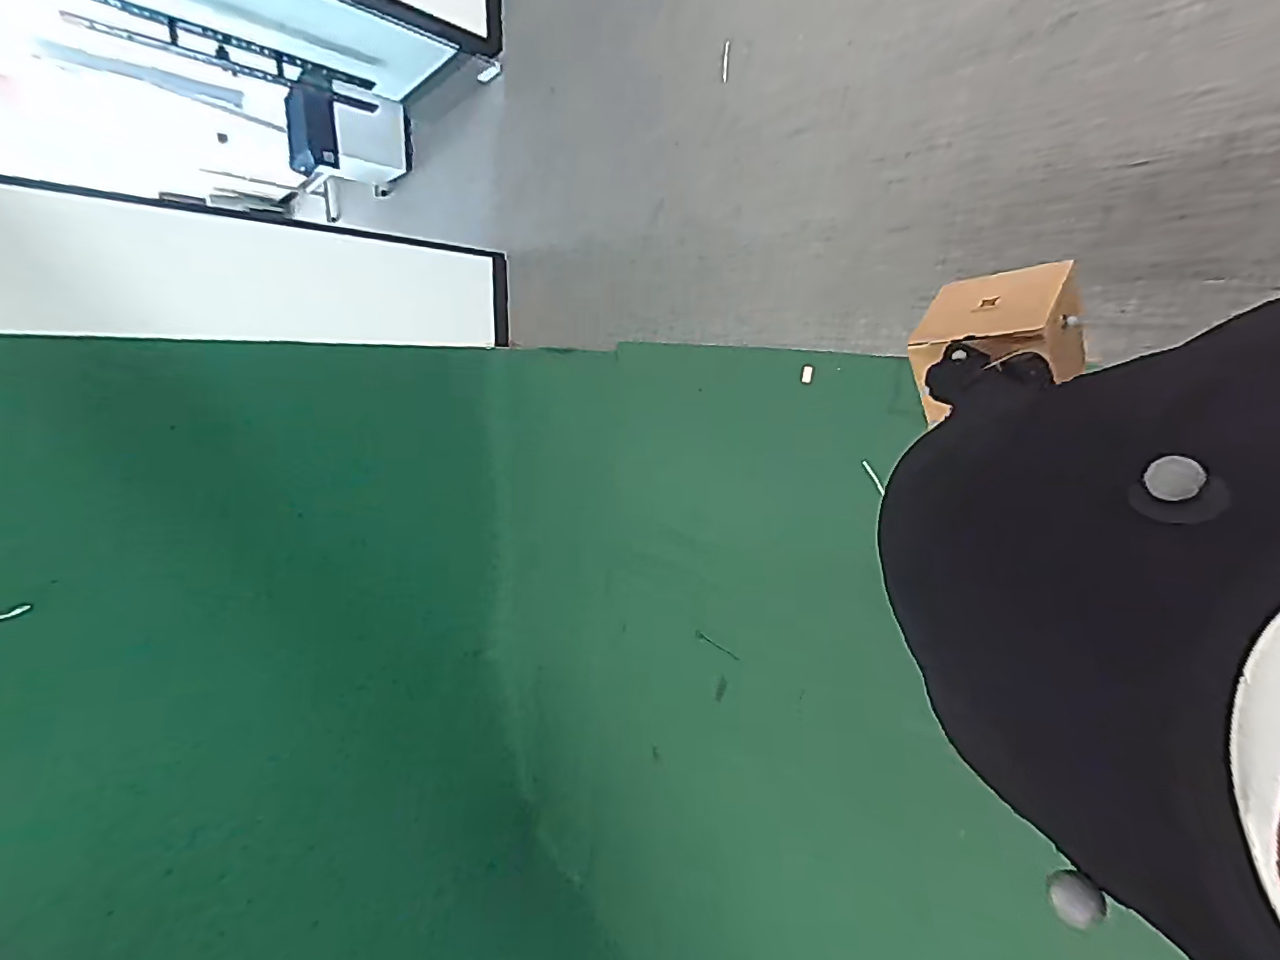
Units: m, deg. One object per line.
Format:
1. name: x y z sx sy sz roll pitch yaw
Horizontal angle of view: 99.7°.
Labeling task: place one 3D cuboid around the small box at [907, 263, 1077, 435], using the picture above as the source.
1. small box: 0.526 -0.186 0.801 0.168 0.179 0.176 4 137 49
